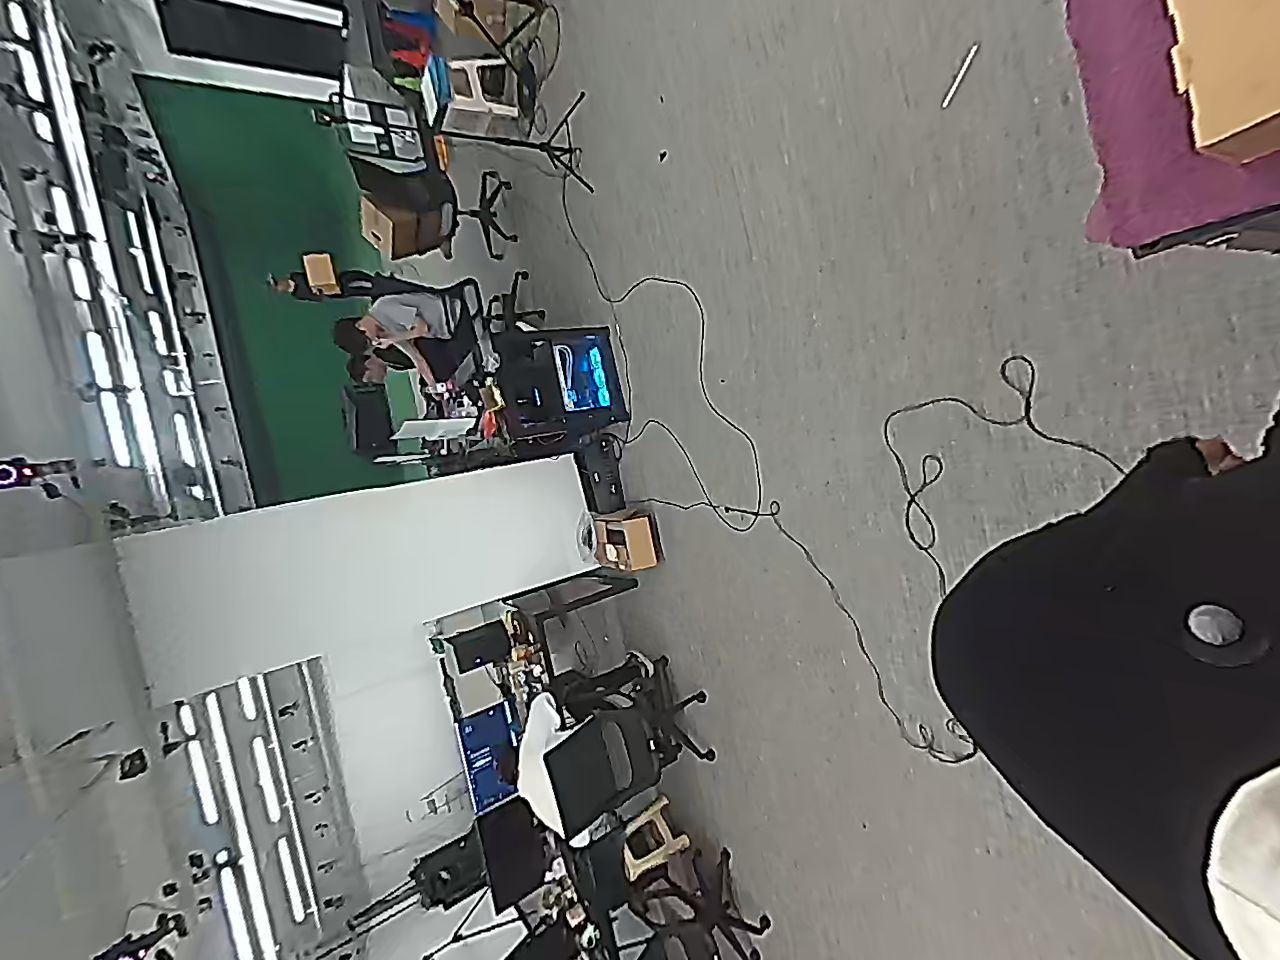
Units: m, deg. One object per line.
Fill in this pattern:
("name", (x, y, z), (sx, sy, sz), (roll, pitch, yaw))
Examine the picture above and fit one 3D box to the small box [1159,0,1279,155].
("small box", (0.629, -0.428, 0.494), (0.179, 0.176, 0.168), (-10, 94, 59))
